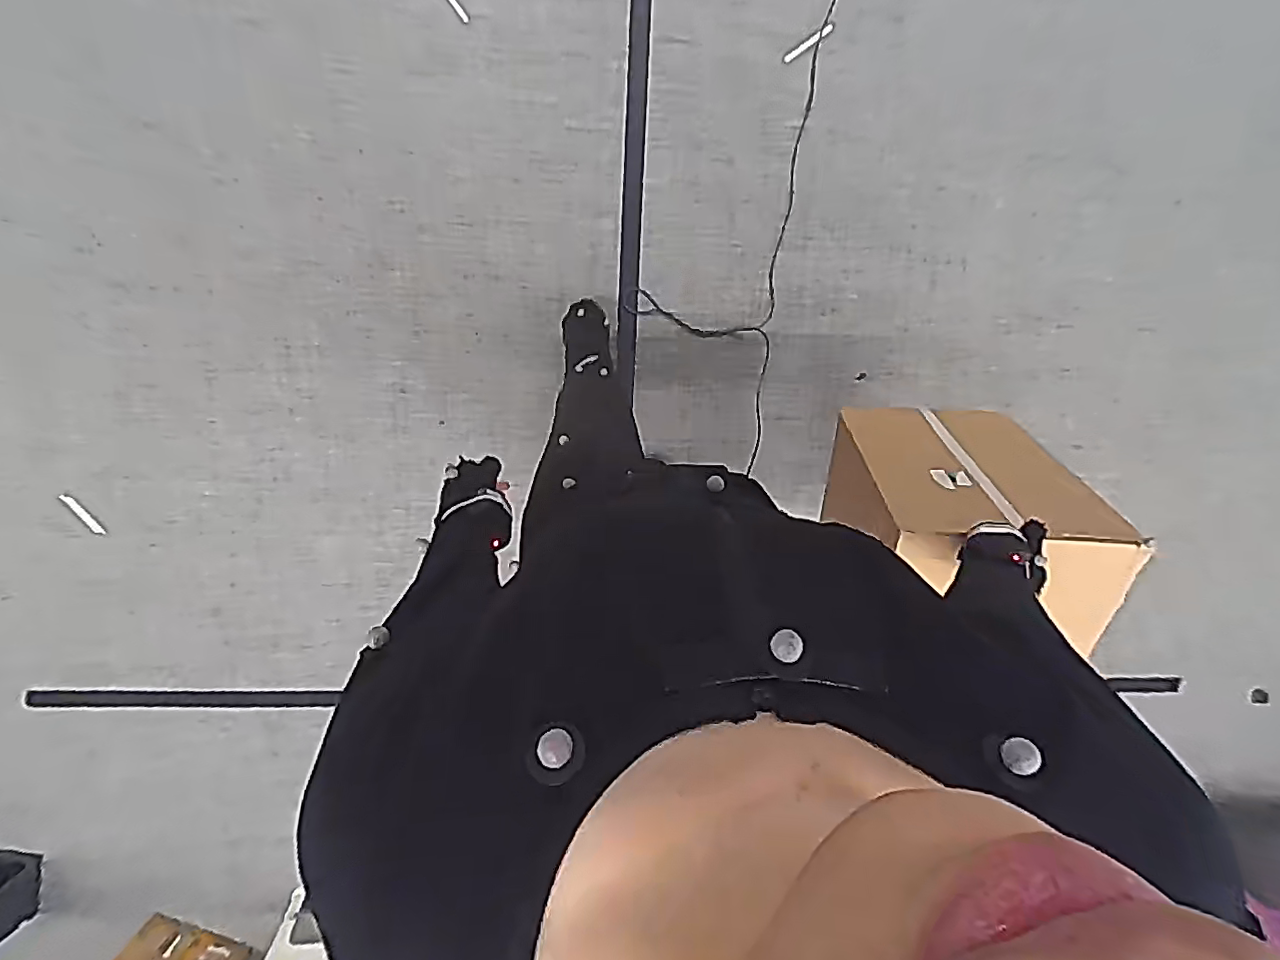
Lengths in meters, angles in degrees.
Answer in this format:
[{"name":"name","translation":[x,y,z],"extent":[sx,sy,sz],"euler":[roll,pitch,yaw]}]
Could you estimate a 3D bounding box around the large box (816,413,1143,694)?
[{"name":"large box","translation":[0.528,0.108,0.965],"extent":[0.320,0.408,0.320],"euler":[1,122,5]}]
